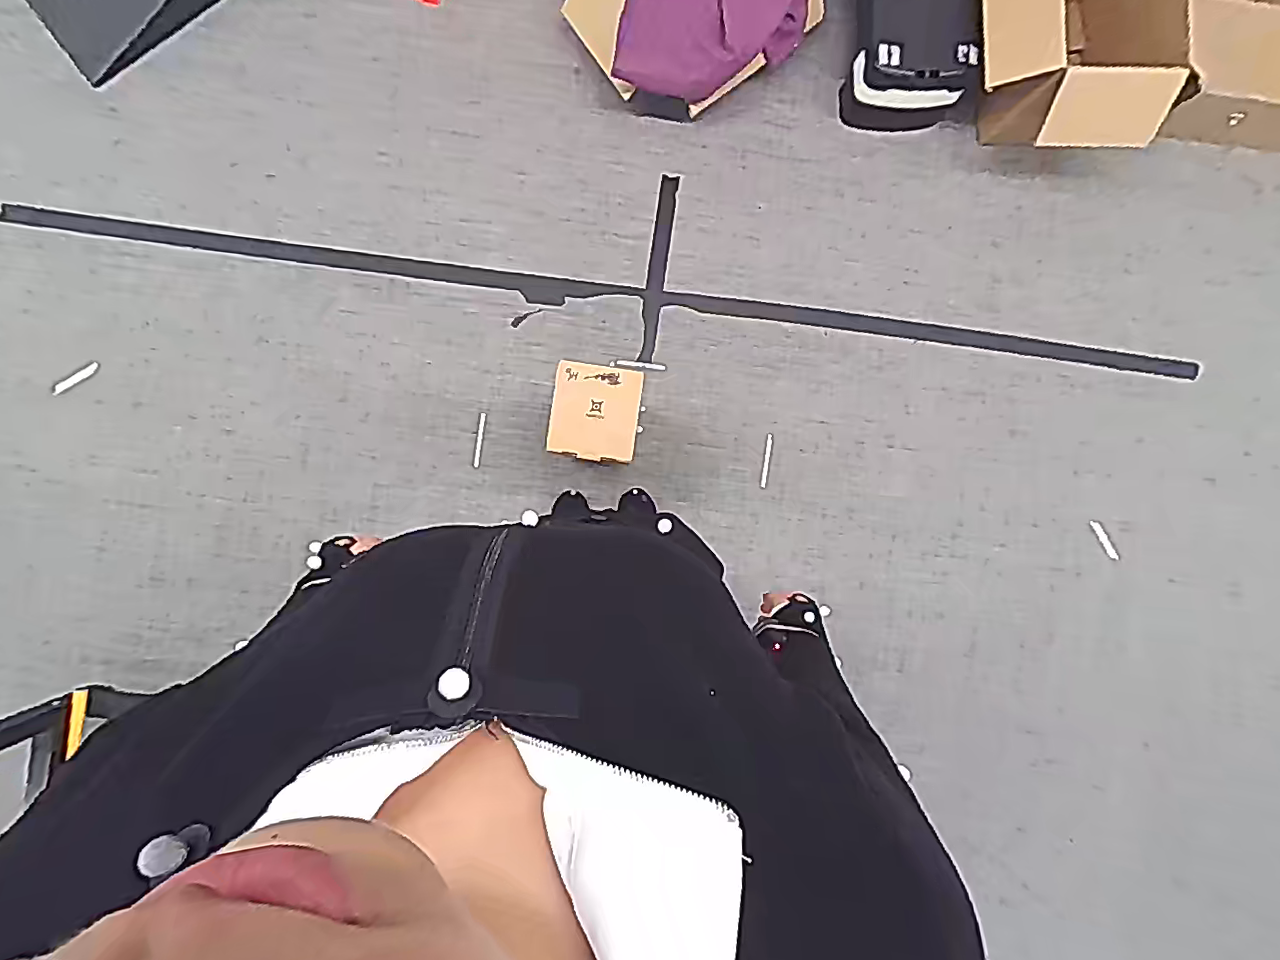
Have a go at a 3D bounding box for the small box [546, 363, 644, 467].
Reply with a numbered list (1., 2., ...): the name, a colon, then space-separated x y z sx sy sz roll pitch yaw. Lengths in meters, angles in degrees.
1. small box: -0.086 -0.124 1.094 0.168 0.176 0.179 9 90 -2
